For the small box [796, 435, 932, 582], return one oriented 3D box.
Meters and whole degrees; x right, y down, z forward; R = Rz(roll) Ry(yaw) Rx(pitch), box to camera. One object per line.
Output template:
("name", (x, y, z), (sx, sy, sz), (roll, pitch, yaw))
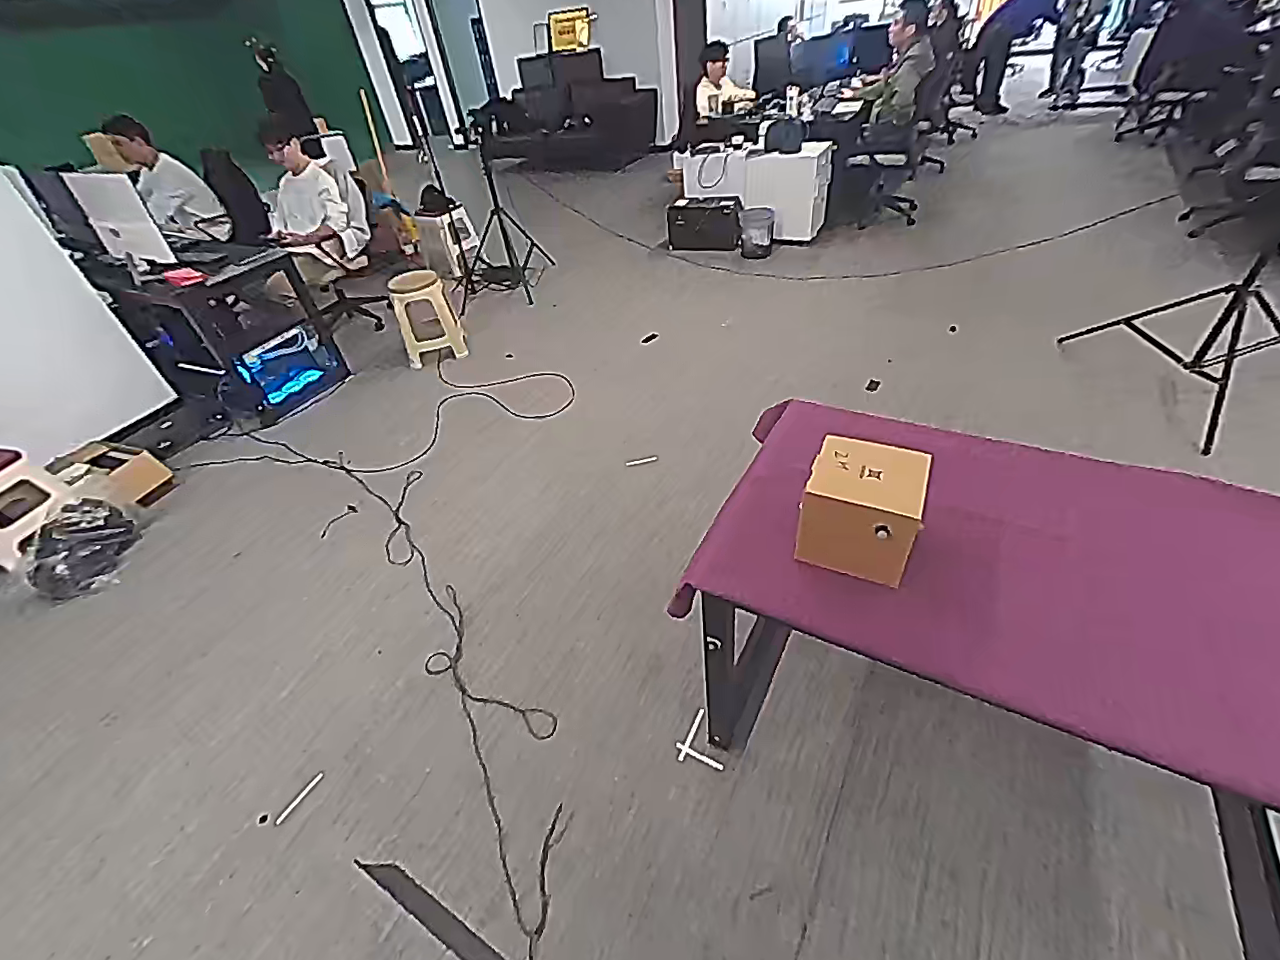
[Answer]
("small box", (0.382, 0.050, 0.935), (0.179, 0.176, 0.168), (14, 44, 24))
